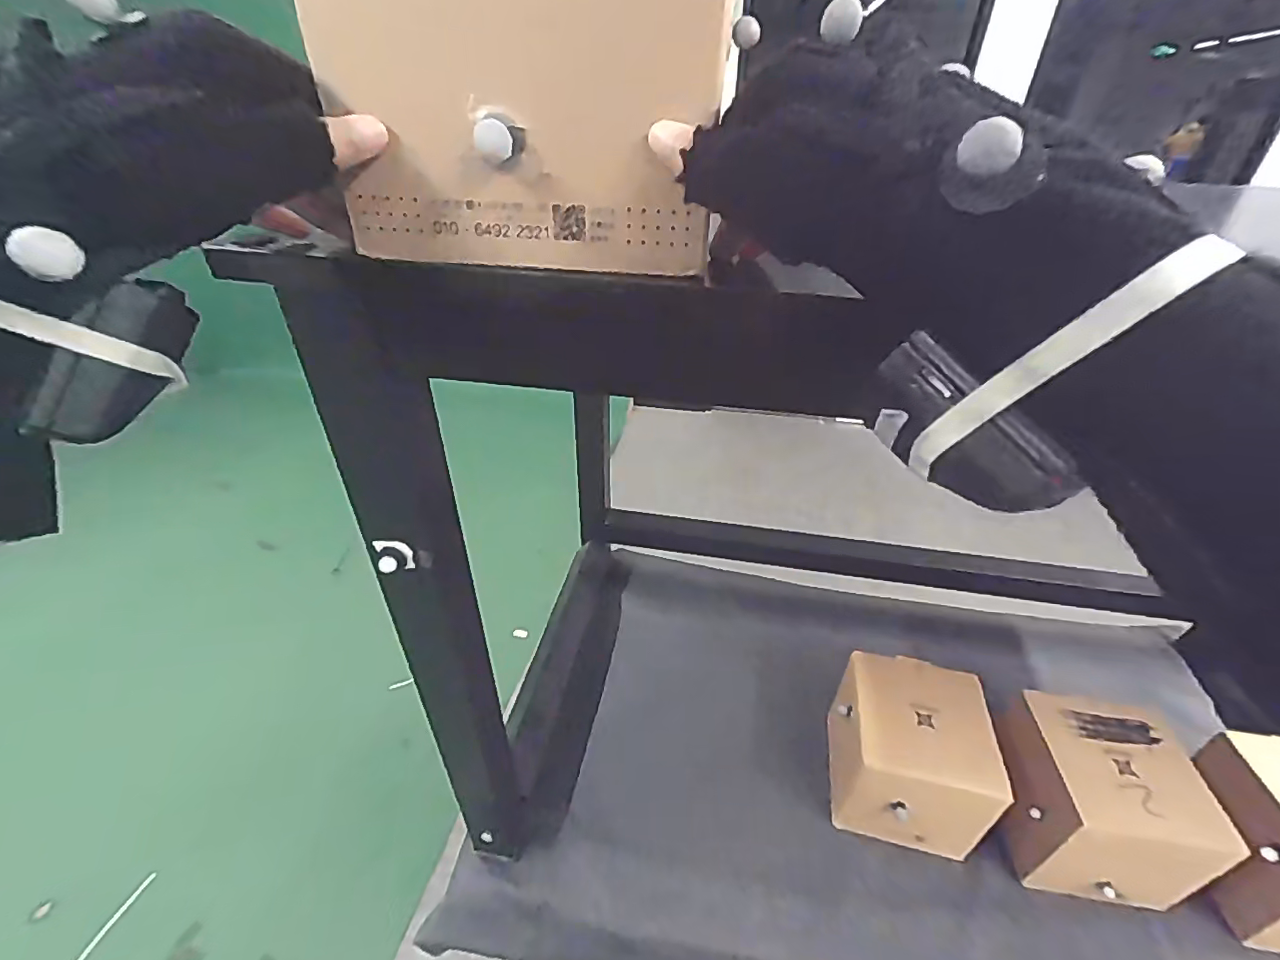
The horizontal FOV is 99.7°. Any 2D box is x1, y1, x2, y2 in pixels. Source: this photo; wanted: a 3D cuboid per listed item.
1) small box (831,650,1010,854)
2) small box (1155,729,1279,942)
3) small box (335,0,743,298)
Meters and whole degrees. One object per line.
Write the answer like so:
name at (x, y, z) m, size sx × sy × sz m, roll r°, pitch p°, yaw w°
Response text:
small box at (0.366, 0.371, 0.744) m, size 0.168 × 0.176 × 0.179 m, roll 9°, pitch 35°, yaw 11°
small box at (0.800, 0.438, 0.651) m, size 0.168 × 0.176 × 0.179 m, roll 6°, pitch 34°, yaw 6°
small box at (-0.036, -0.207, 0.279) m, size 0.168 × 0.176 × 0.179 m, roll 5°, pitch 36°, yaw 5°
